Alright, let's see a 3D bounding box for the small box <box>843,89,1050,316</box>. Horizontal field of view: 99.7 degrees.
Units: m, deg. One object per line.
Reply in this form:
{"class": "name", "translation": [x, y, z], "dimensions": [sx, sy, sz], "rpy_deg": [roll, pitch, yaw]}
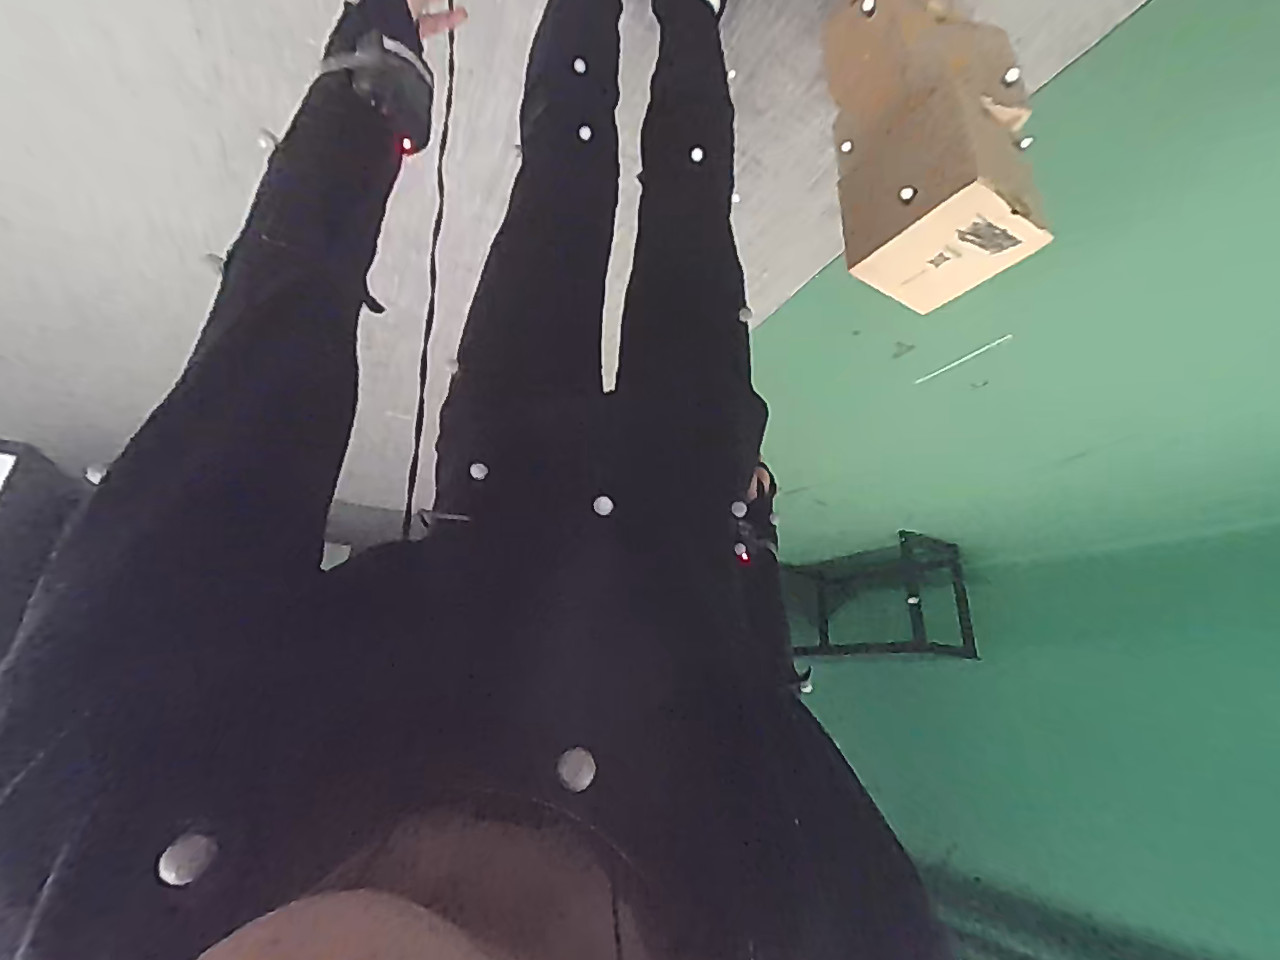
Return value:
{"class": "small box", "translation": [0.392, -0.359, 0.719], "dimensions": [0.168, 0.176, 0.179], "rpy_deg": [14, 157, -28]}

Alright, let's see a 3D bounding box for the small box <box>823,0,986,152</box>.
{"class": "small box", "translation": [0.405, -0.662, 0.846], "dimensions": [0.179, 0.176, 0.168], "rpy_deg": [20, 153, -35]}
